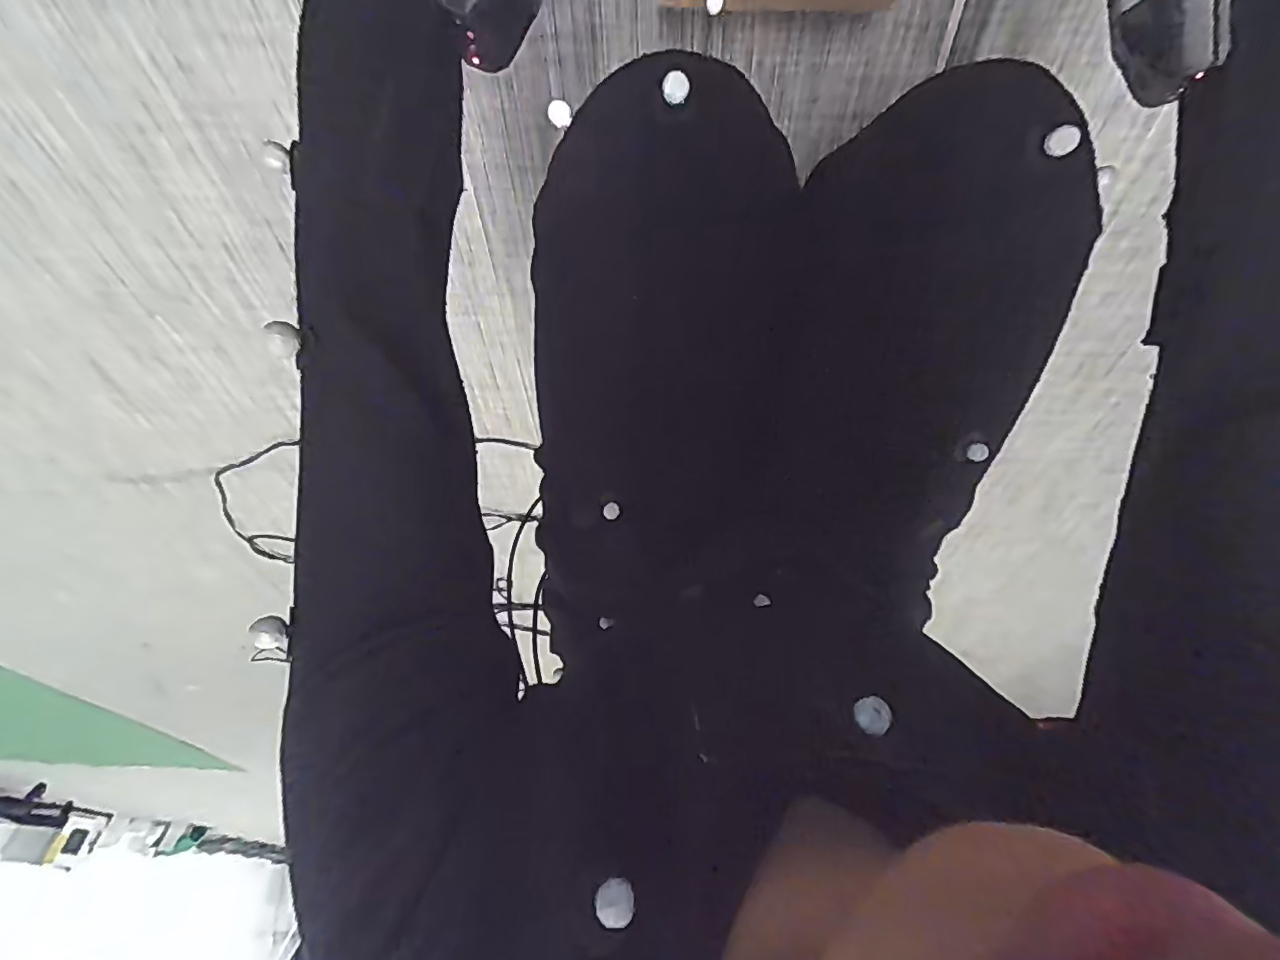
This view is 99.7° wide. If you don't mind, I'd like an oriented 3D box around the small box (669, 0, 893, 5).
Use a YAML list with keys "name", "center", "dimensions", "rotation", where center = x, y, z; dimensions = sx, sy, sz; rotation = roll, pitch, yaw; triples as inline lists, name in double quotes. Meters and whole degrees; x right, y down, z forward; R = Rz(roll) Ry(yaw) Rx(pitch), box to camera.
- name: "small box"
  center: [0.099, -0.391, 0.290]
  dimensions: [0.179, 0.176, 0.168]
  rotation: [3, 113, 1]
